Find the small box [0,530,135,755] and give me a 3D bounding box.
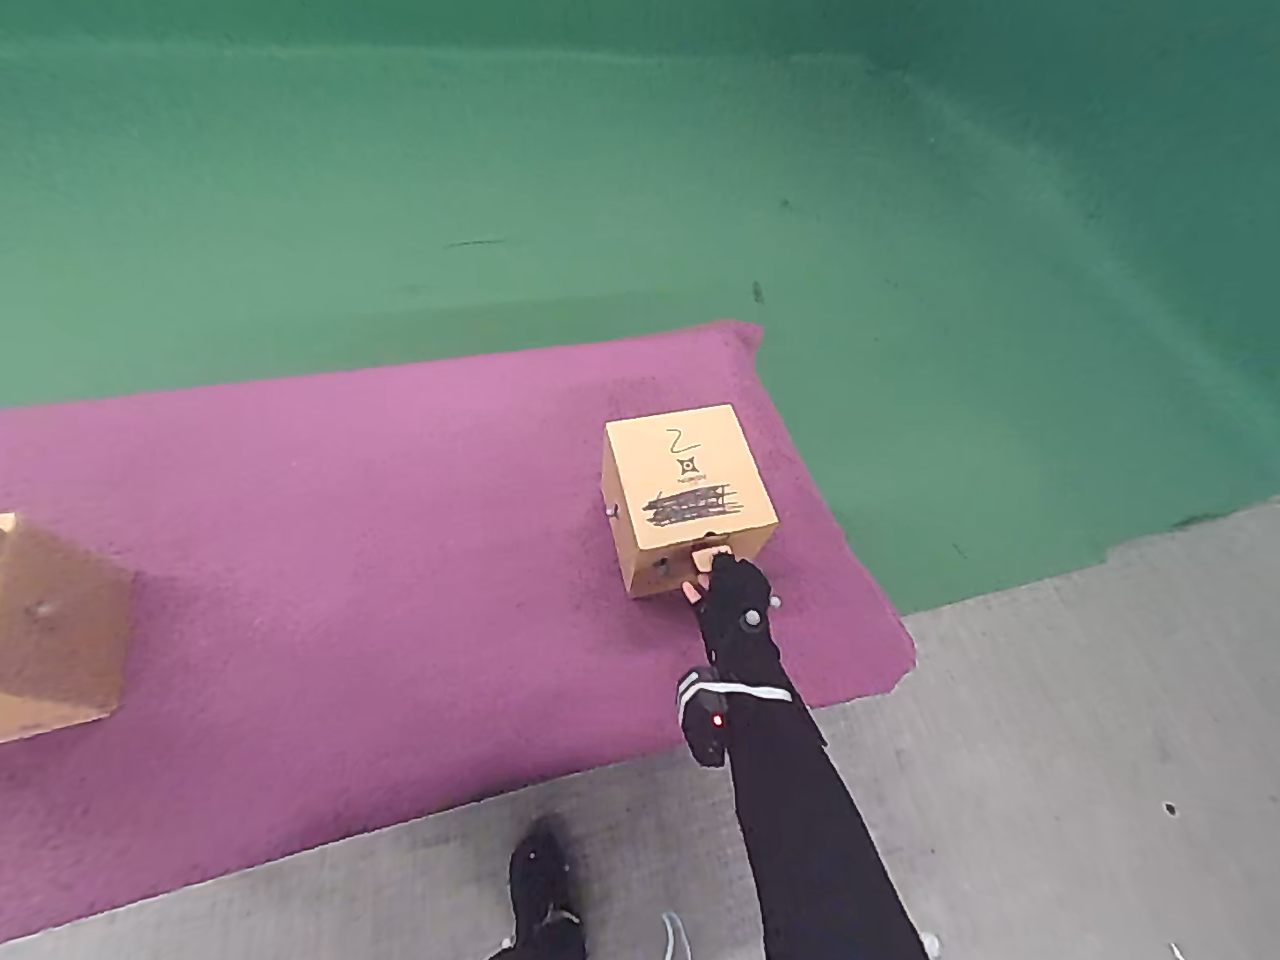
[{"bbox_3d":[-0.672,0.176,0.552,0.168,0.176,0.179,-12,64,-13],"label":"small box"}]
